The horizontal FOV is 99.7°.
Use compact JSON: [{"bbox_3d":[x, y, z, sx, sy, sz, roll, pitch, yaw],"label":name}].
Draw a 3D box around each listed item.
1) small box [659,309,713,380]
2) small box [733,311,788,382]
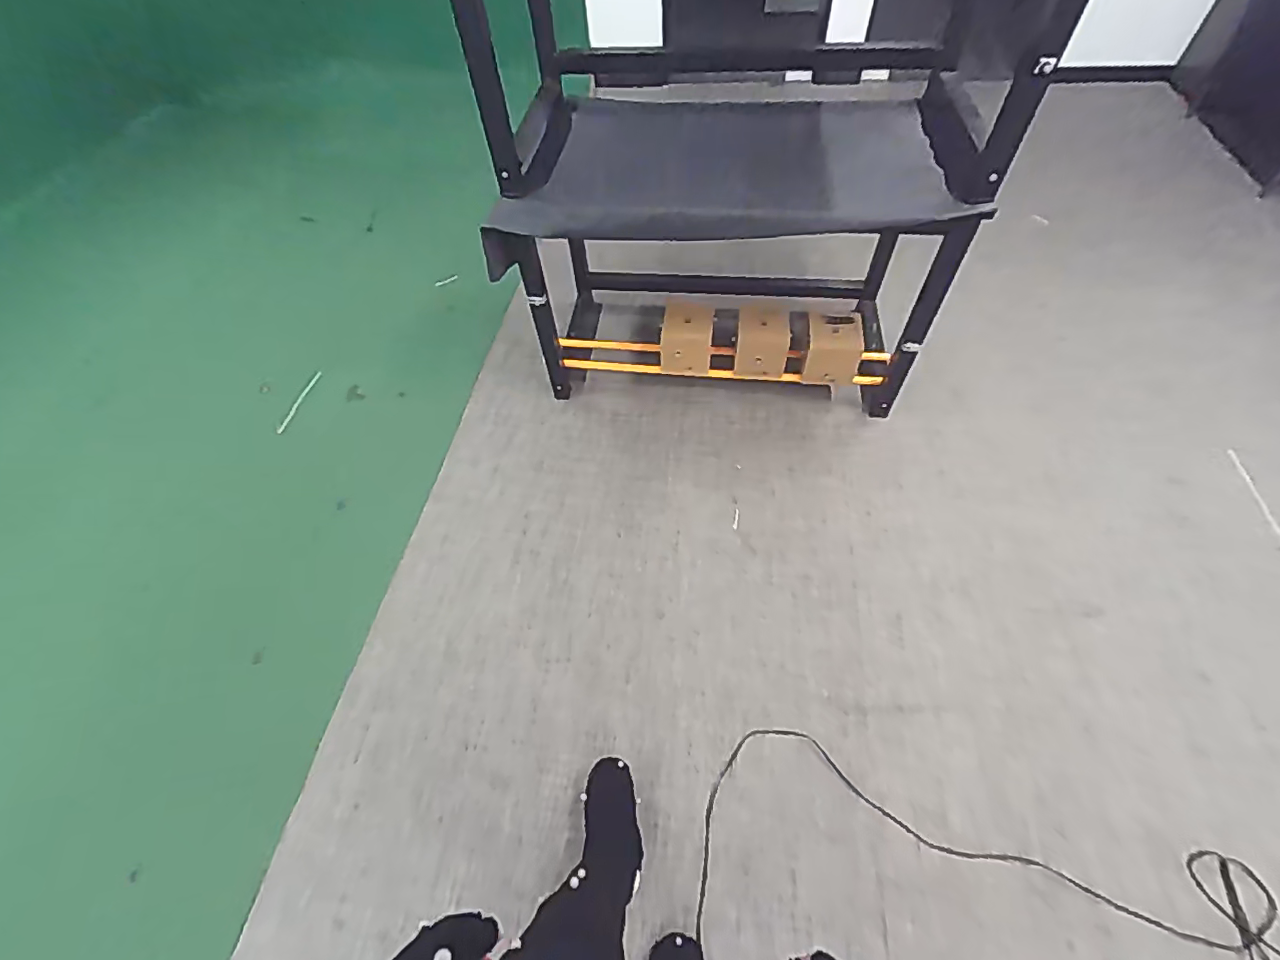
[{"bbox_3d":[0.161,-0.463,1.858,0.168,0.176,0.179,6,57,6],"label":"small box"},{"bbox_3d":[0.405,-0.449,1.831,0.168,0.176,0.179,4,56,6],"label":"small box"}]
